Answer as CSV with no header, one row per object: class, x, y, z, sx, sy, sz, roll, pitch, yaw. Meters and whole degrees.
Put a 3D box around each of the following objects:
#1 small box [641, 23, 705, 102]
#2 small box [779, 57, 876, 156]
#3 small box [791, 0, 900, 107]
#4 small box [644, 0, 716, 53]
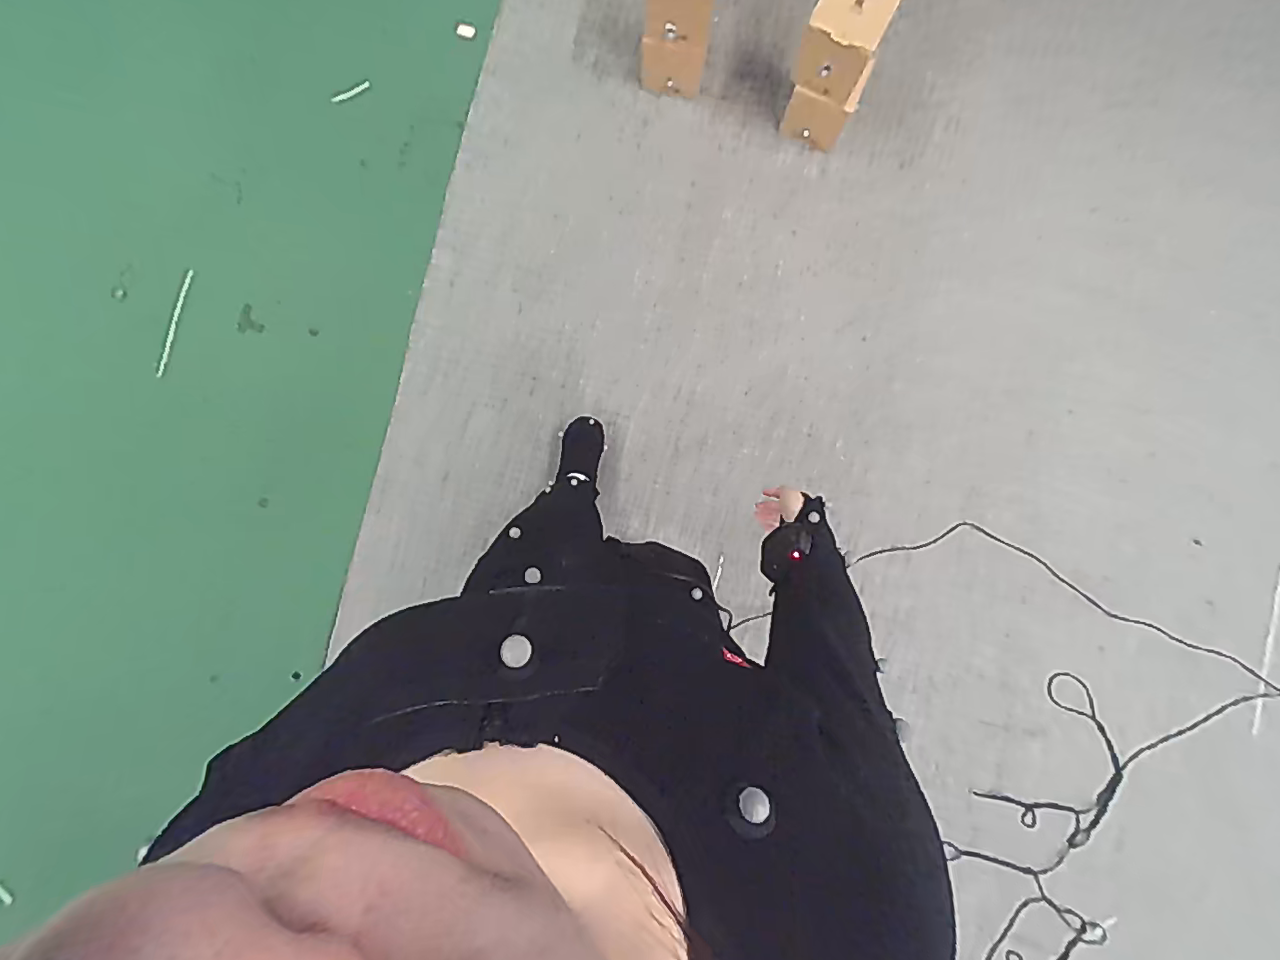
small box,0.094,-1.179,1.464,0.168,0.176,0.179,10,87,0
small box,0.496,-1.031,1.461,0.168,0.176,0.179,24,88,1
small box,0.483,-1.055,1.299,0.168,0.176,0.179,28,88,1
small box,0.103,-1.189,1.303,0.168,0.176,0.179,10,88,1
